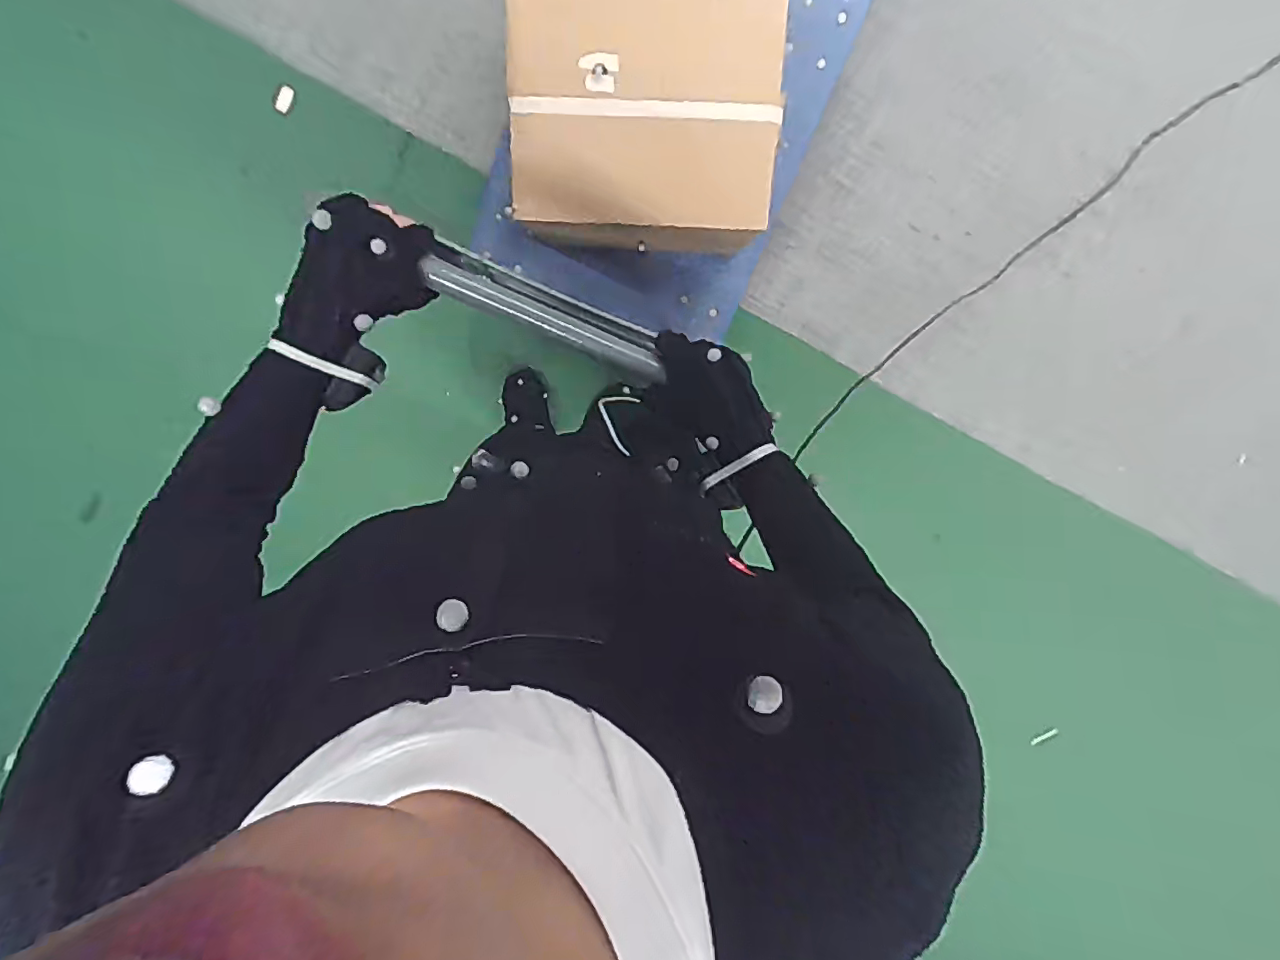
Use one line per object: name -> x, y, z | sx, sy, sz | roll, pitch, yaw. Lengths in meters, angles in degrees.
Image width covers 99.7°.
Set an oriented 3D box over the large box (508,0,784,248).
large box -> 0.008, -0.593, 0.952 | 0.408, 0.320, 0.320 | 3, 106, 0
